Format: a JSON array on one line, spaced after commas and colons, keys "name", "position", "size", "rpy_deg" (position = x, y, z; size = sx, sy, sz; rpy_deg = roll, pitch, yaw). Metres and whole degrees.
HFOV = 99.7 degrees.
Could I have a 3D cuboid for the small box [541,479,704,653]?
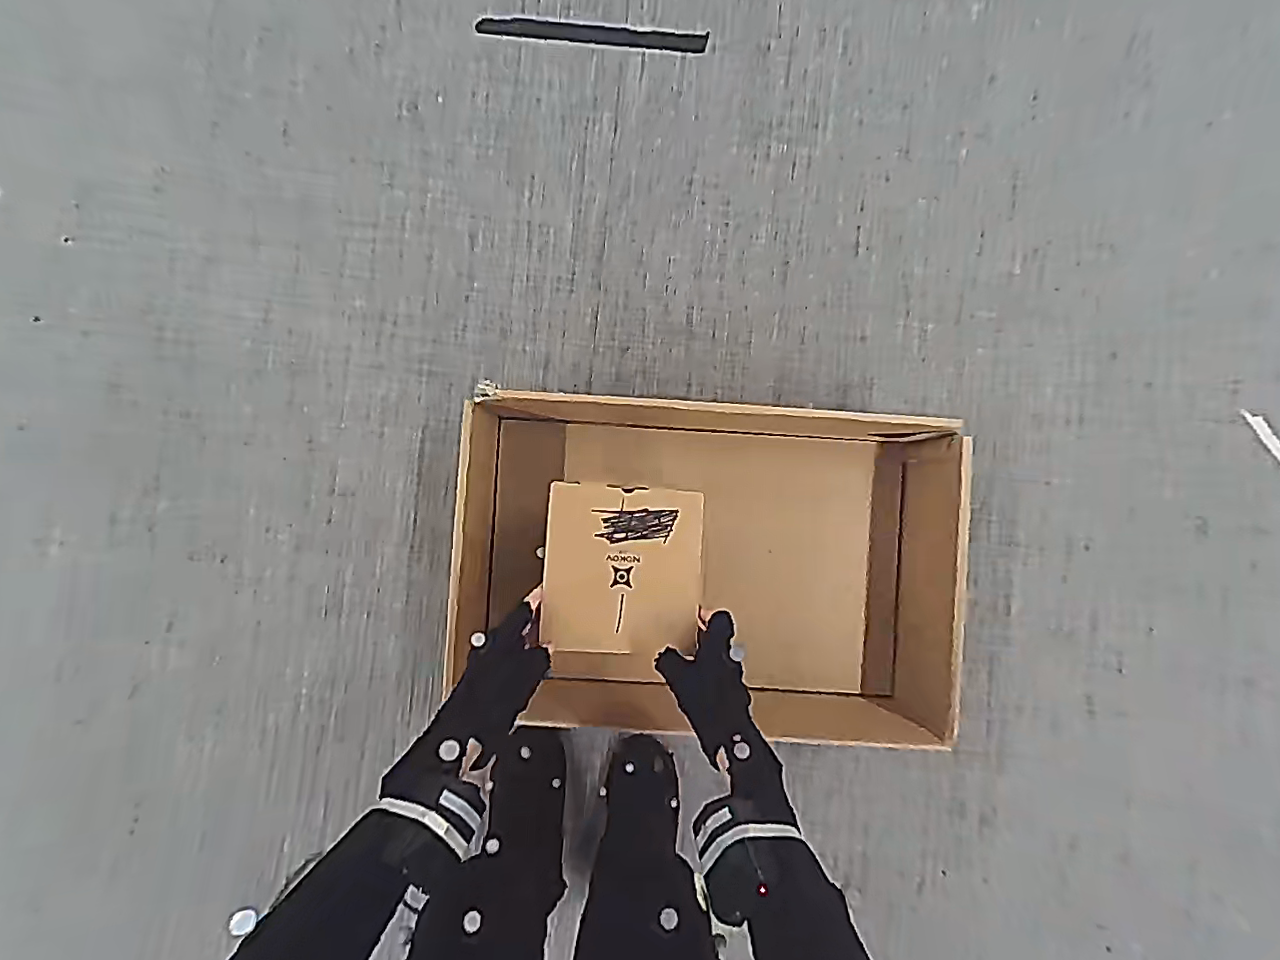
[{"name": "small box", "position": [-0.025, 0.105, 0.655], "size": [0.168, 0.176, 0.179], "rpy_deg": [5, 80, -5]}]
